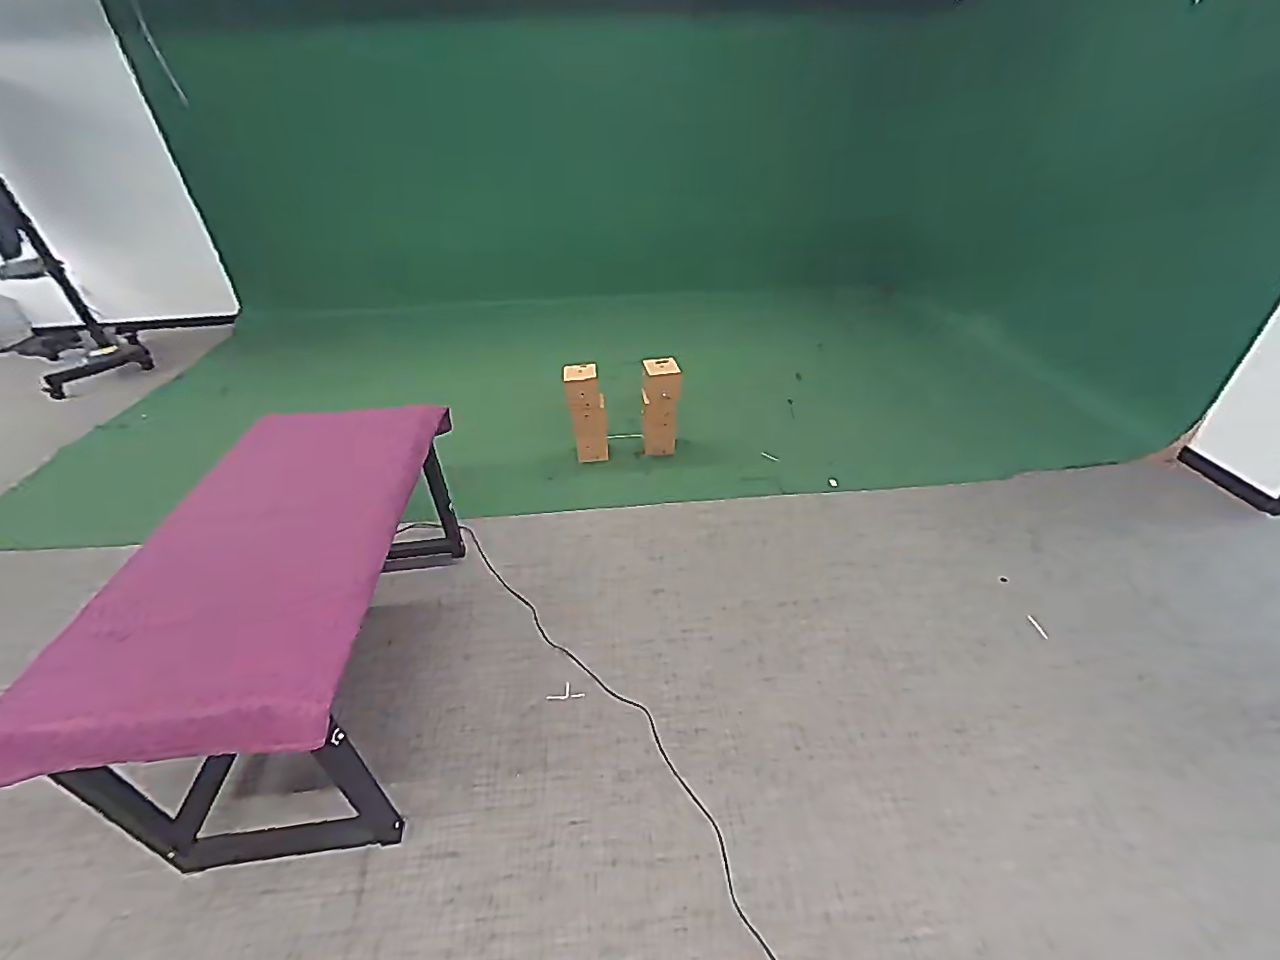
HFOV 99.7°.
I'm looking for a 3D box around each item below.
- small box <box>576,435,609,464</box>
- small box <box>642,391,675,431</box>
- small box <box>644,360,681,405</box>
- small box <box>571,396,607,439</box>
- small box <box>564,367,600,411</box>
[{"bbox_3d":[-0.263,-0.199,2.987,0.168,0.176,0.179,-6,35,-3],"label":"small box"},{"bbox_3d":[0.101,-0.376,2.926,0.168,0.176,0.179,-4,37,-4],"label":"small box"},{"bbox_3d":[0.112,-0.508,2.829,0.168,0.176,0.179,-8,39,-8],"label":"small box"},{"bbox_3d":[-0.272,-0.329,2.887,0.179,0.176,0.168,-5,36,-4],"label":"small box"},{"bbox_3d":[-0.300,-0.469,2.801,0.168,0.176,0.179,-6,36,-2],"label":"small box"}]
